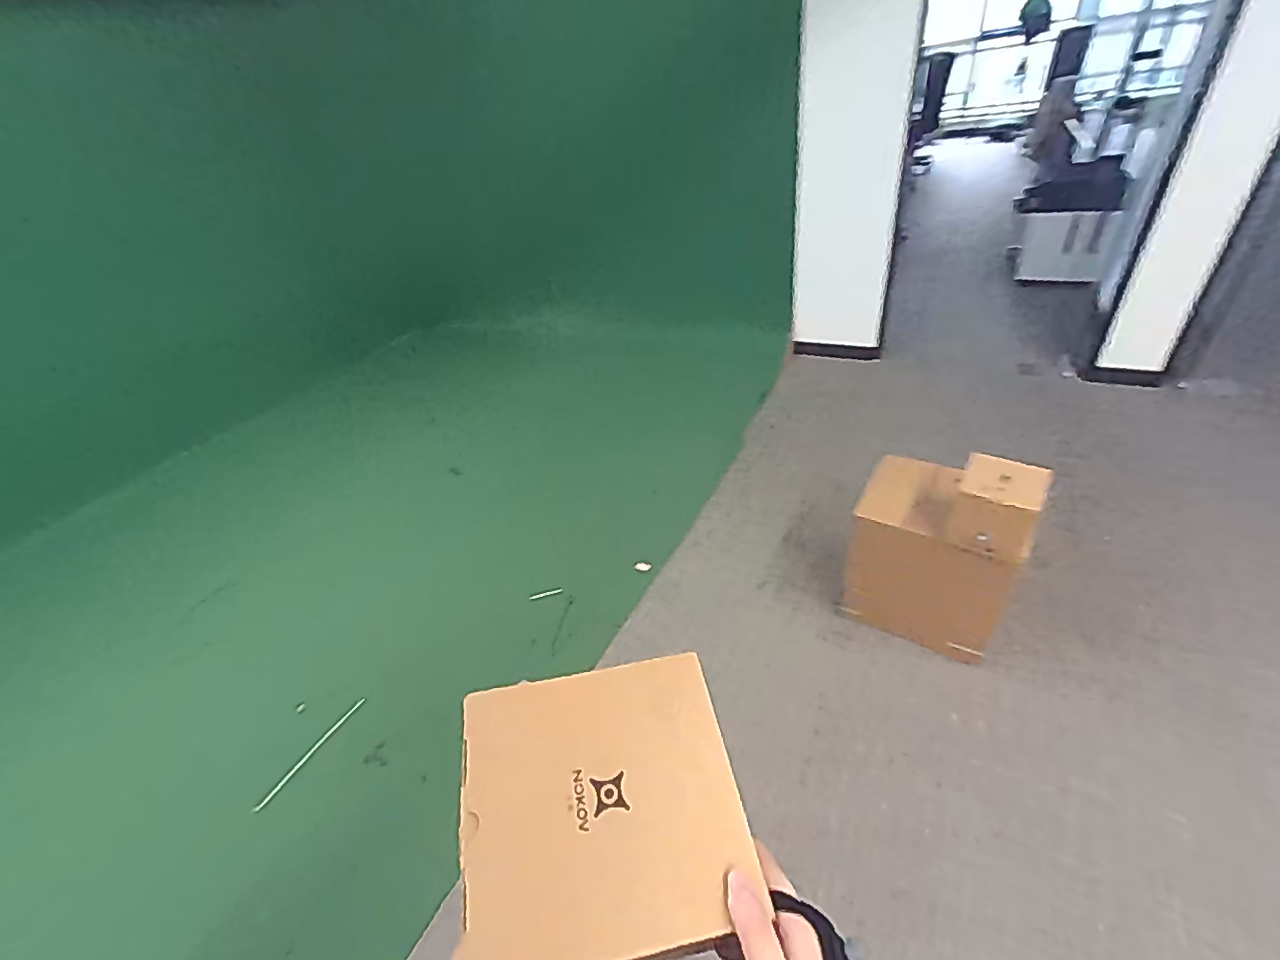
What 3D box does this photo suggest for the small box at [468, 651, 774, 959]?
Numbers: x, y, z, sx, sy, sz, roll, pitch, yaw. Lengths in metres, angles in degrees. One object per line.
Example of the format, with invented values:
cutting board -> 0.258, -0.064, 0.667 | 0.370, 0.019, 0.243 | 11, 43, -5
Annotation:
small box -> -0.022, 0.254, 0.410 | 0.179, 0.176, 0.168 | -8, 47, -8

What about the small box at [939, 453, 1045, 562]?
small box -> 0.851, 0.066, 1.317 | 0.168, 0.176, 0.179 | 20, 46, 32
